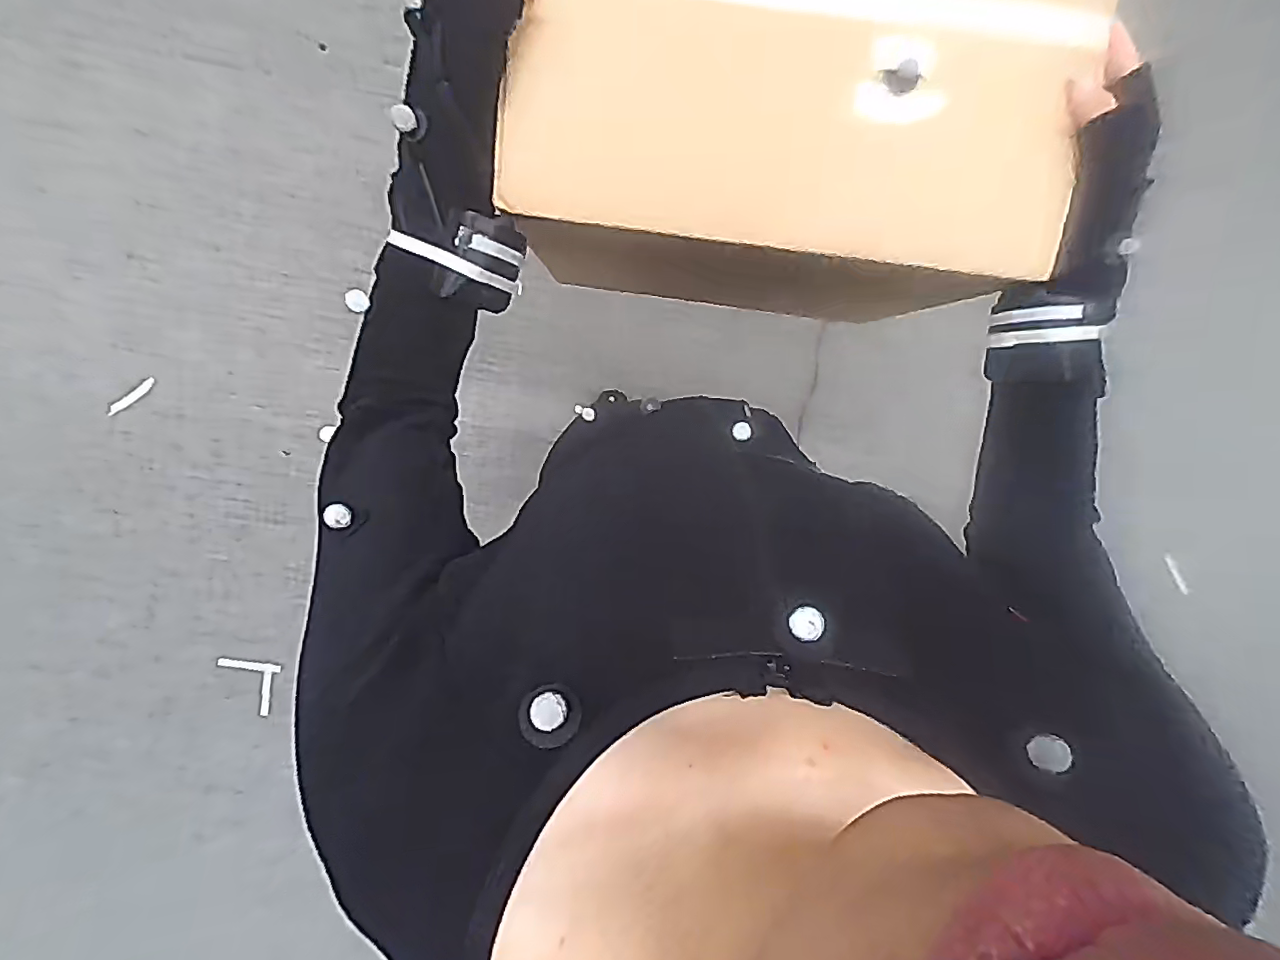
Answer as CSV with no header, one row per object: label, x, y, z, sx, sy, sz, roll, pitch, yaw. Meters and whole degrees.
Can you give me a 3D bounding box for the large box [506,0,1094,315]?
large box,0.110,-0.354,0.518,0.408,0.320,0.320,6,100,-2
